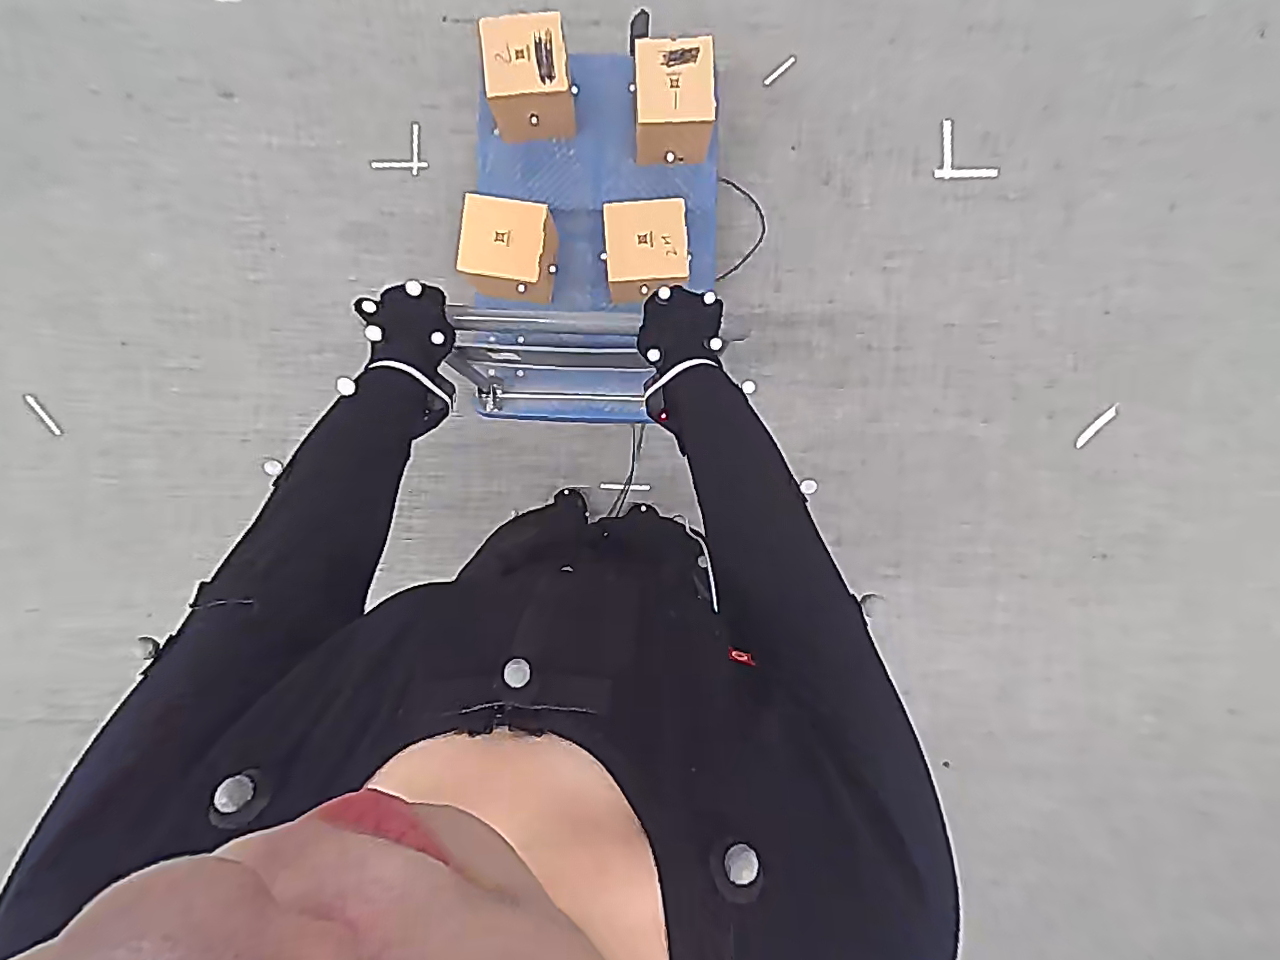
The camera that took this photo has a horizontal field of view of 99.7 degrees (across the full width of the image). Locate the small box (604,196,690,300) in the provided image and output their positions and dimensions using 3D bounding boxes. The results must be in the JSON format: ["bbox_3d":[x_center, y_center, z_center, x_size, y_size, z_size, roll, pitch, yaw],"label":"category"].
[{"bbox_3d":[0.017,-0.517,1.228,0.179,0.176,0.168,-4,92,0],"label":"small box"}]

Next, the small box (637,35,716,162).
[{"bbox_3d":[0.077,-0.850,1.219,0.168,0.176,0.179,-2,93,0],"label":"small box"}]

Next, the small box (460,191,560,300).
[{"bbox_3d":[-0.288,-0.523,1.228,0.179,0.176,0.168,7,91,-2],"label":"small box"}]
